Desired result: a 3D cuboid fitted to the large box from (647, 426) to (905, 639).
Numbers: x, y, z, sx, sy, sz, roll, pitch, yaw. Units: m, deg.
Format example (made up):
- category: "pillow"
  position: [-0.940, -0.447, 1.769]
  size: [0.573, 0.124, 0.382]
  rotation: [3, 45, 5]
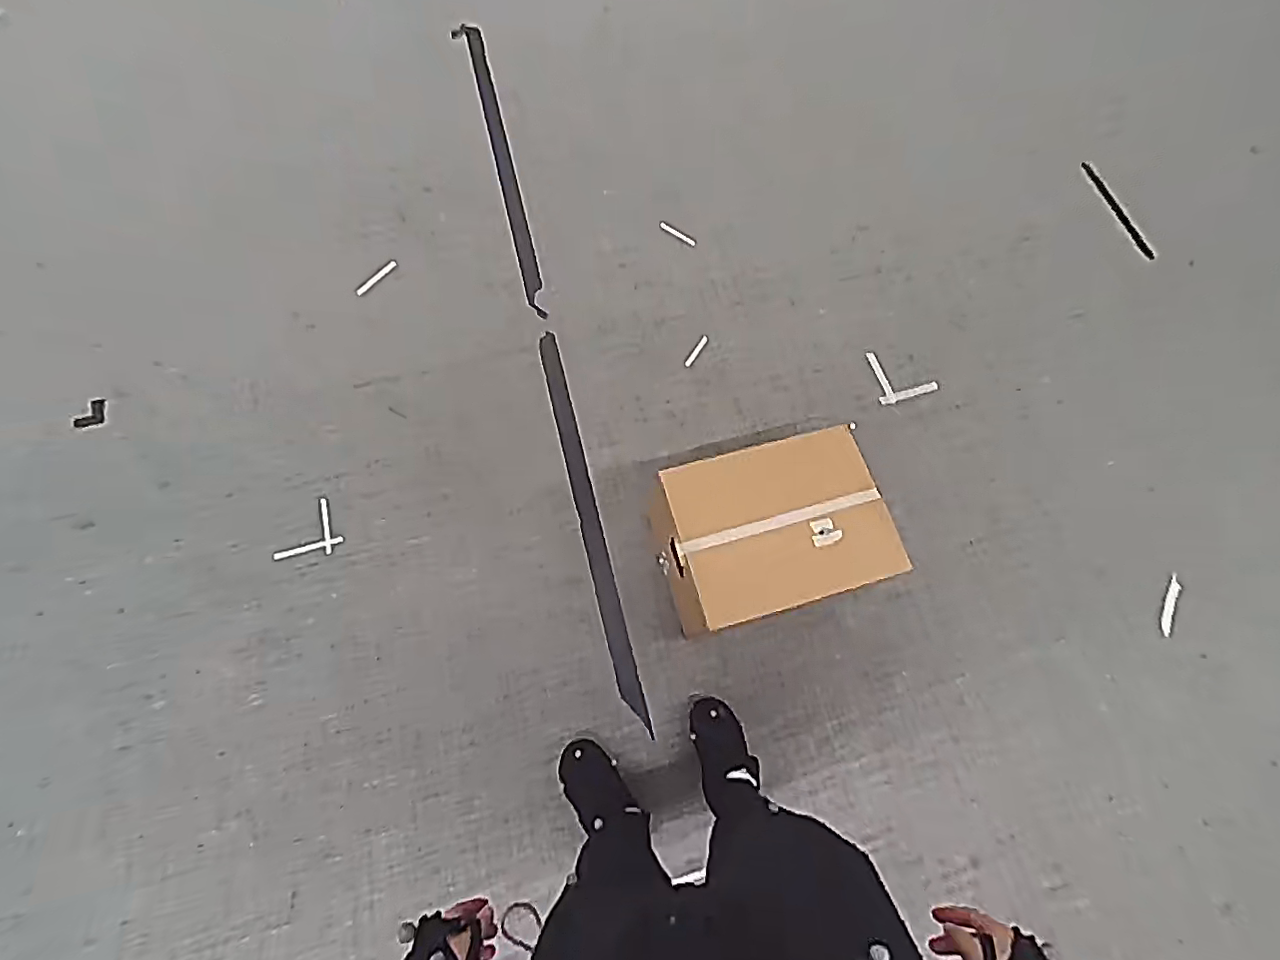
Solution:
- category: "large box"
  position: [0.256, 0.127, 1.165]
  size: [0.408, 0.320, 0.320]
  rotation: [-14, 73, -9]
